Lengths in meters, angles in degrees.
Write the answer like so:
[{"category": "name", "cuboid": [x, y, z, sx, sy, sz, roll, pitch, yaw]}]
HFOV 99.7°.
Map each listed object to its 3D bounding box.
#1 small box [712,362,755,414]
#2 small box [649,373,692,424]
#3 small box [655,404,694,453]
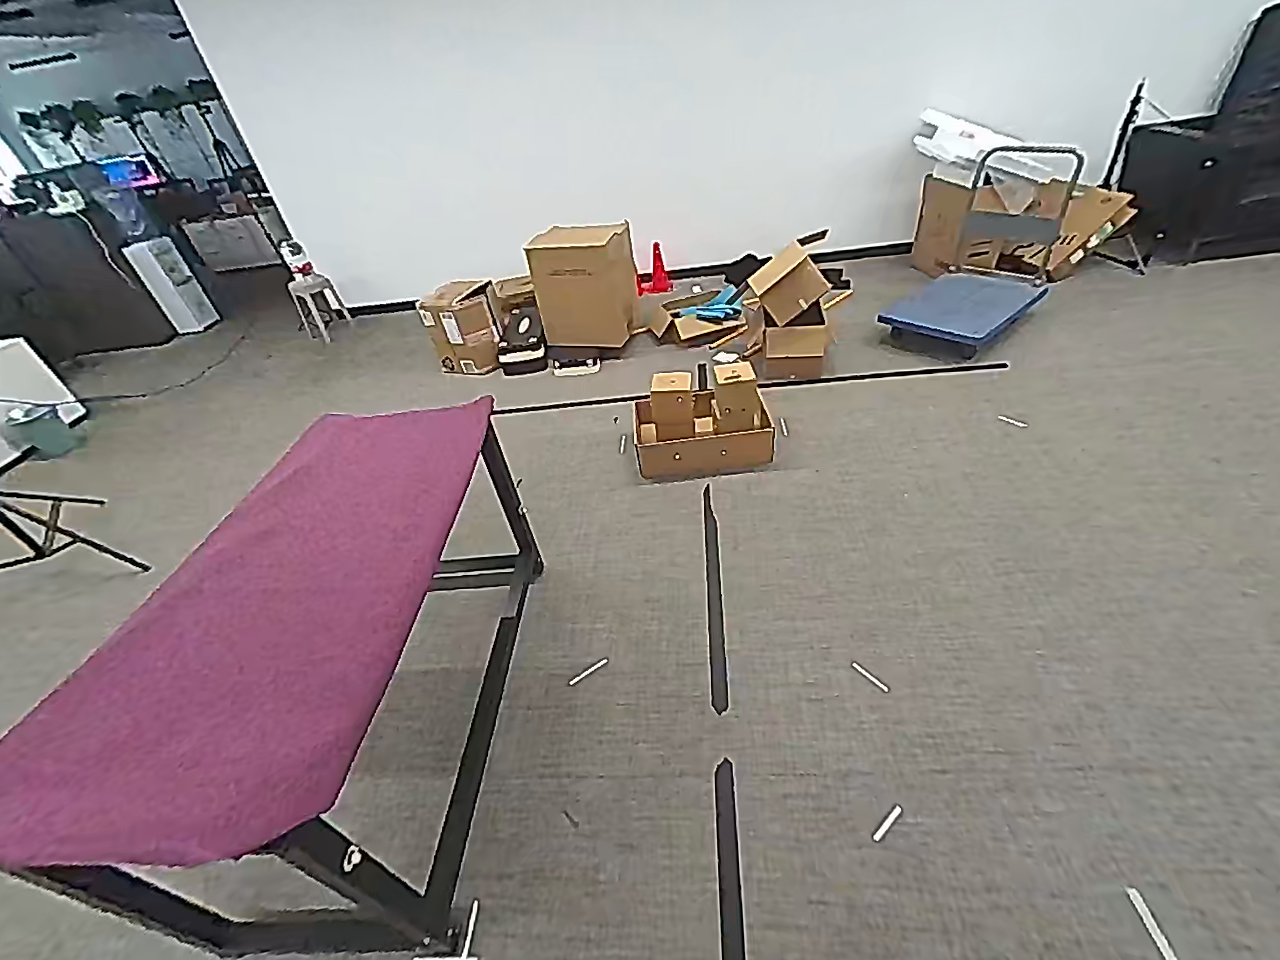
[{"category": "small box", "cuboid": [0.419, -0.407, 2.423, 0.168, 0.176, 0.179, -7, 37, 3]}, {"category": "small box", "cuboid": [0.142, -0.365, 2.432, 0.179, 0.176, 0.168, -1, 38, 9]}, {"category": "small box", "cuboid": [0.166, -0.247, 2.547, 0.168, 0.176, 0.179, 1, 39, 10]}]
